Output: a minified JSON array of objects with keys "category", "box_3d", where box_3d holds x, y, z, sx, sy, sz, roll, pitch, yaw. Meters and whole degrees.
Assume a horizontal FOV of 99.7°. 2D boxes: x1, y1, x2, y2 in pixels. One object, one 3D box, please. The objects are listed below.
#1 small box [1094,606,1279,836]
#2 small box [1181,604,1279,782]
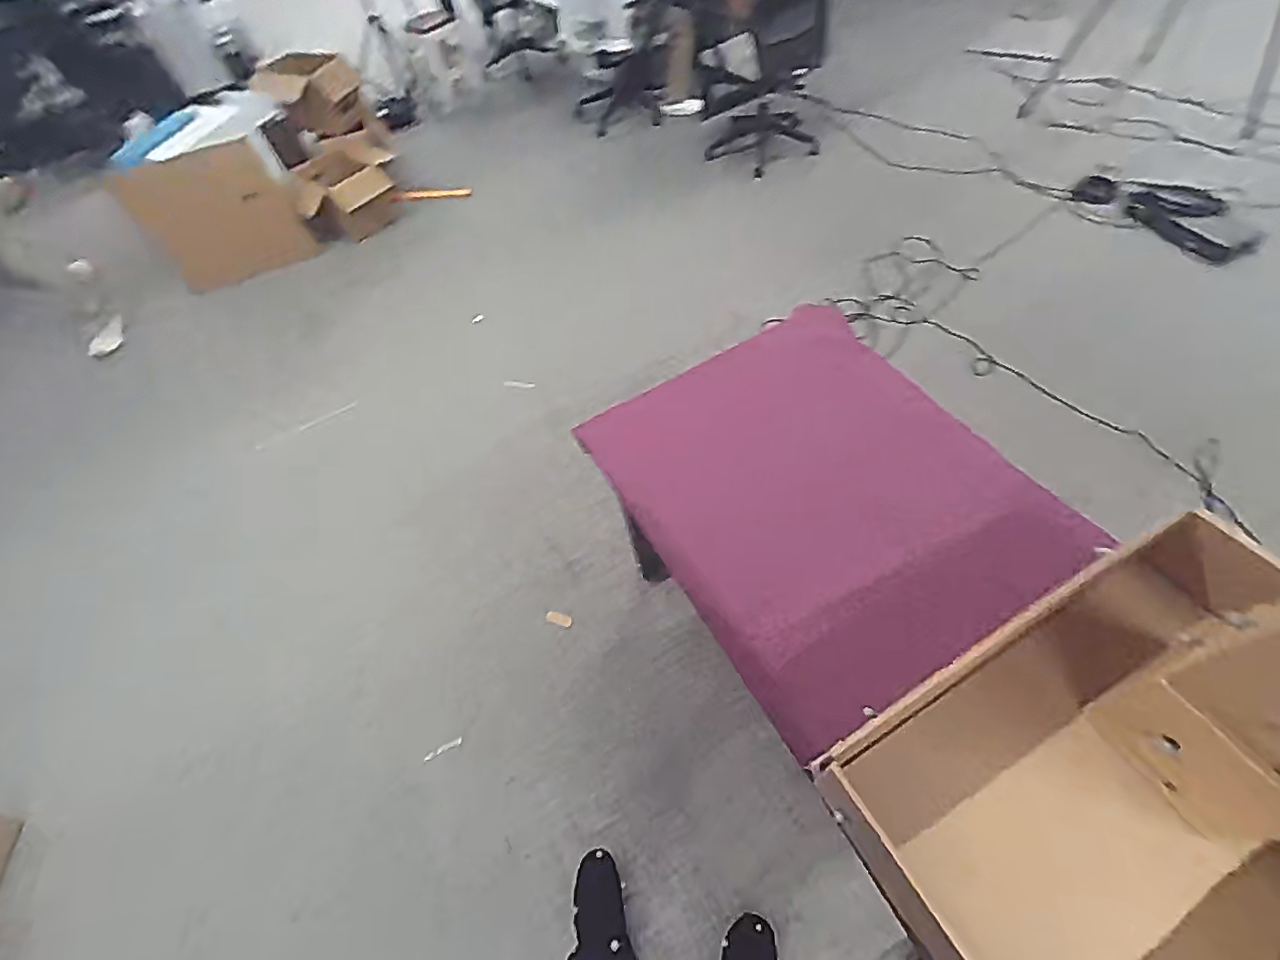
[{"category":"small box","box_3d":[0.680,0.281,0.620,0.179,0.176,0.168,-26,55,-9]},{"category":"small box","box_3d":[0.661,0.189,0.485,0.179,0.176,0.168,-26,56,-8]}]
